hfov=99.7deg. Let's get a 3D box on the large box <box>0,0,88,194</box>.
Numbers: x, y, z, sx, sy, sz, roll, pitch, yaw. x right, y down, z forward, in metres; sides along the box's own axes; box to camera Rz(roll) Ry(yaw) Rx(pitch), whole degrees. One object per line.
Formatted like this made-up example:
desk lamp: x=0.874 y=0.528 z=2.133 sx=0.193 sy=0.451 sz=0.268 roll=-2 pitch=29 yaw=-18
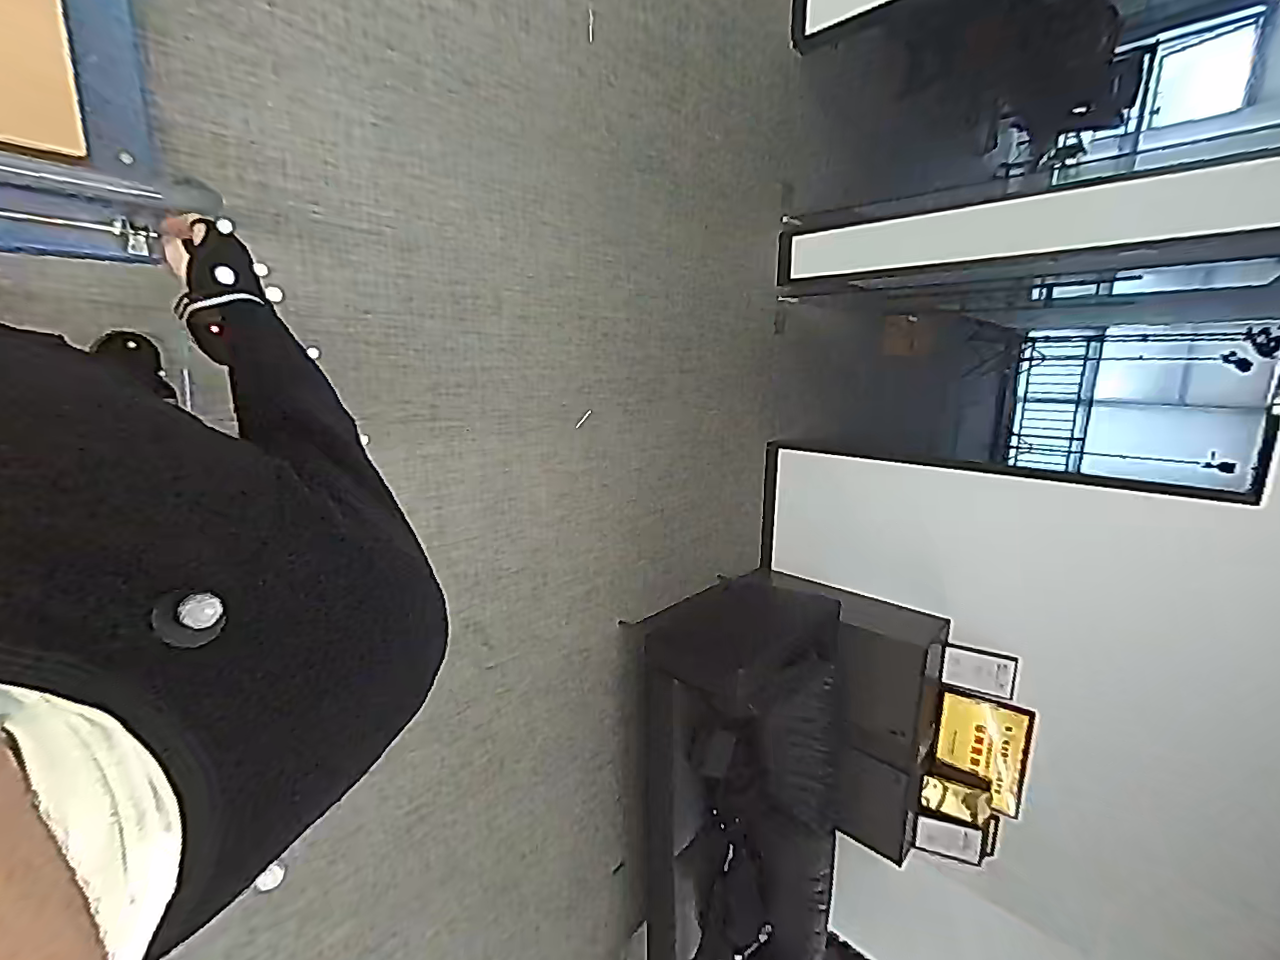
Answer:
large box: x=-1.028 y=-0.671 z=0.748 sx=0.320 sy=0.320 sz=0.408 roll=-12 pitch=107 yaw=-47
